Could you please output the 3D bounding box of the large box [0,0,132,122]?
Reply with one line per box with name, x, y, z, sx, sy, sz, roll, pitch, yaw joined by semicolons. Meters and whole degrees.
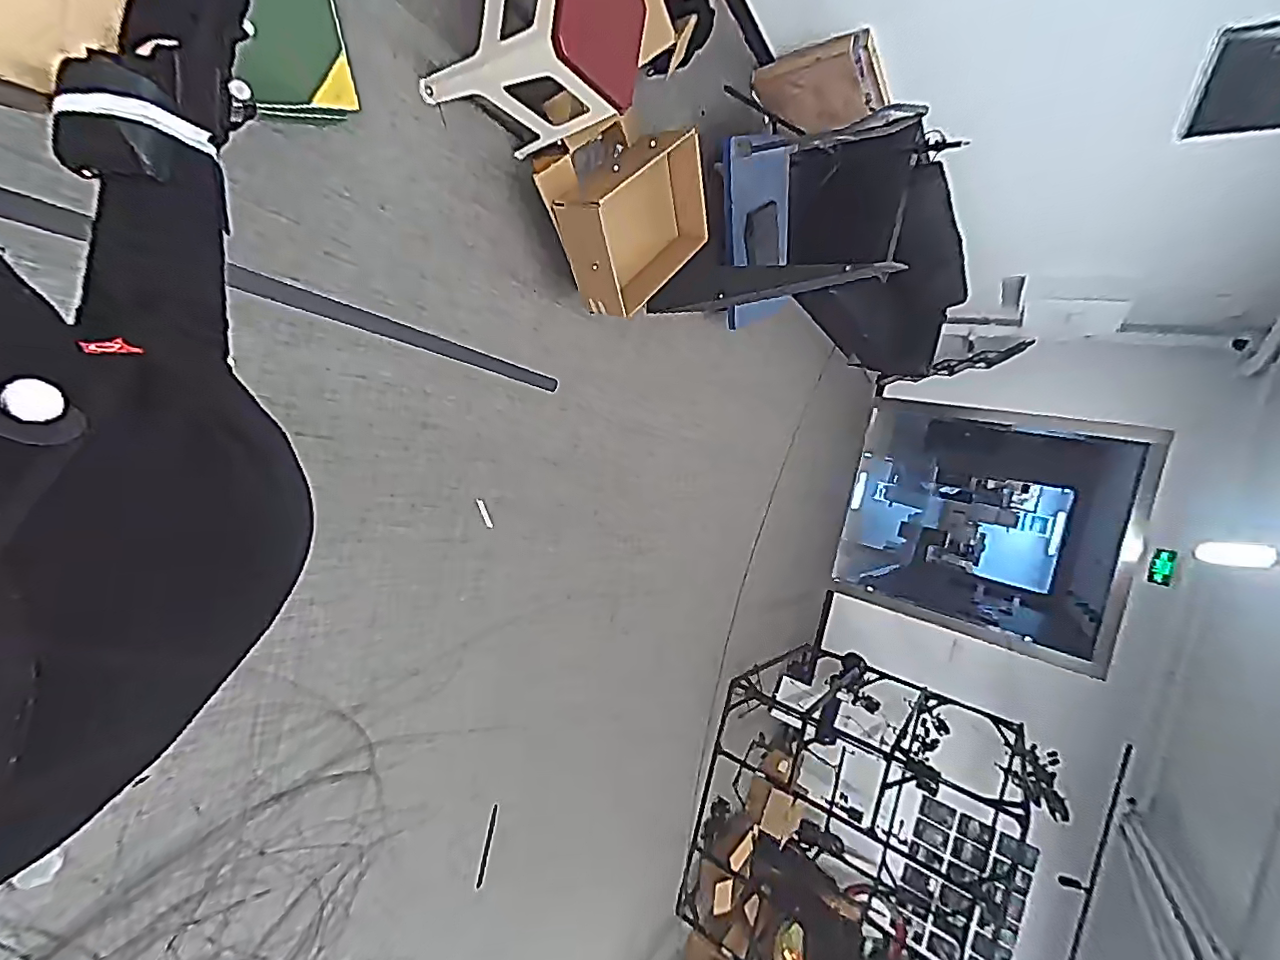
large box;-0.574;-0.445;0.273;0.408;0.320;0.320;-8;119;-58
